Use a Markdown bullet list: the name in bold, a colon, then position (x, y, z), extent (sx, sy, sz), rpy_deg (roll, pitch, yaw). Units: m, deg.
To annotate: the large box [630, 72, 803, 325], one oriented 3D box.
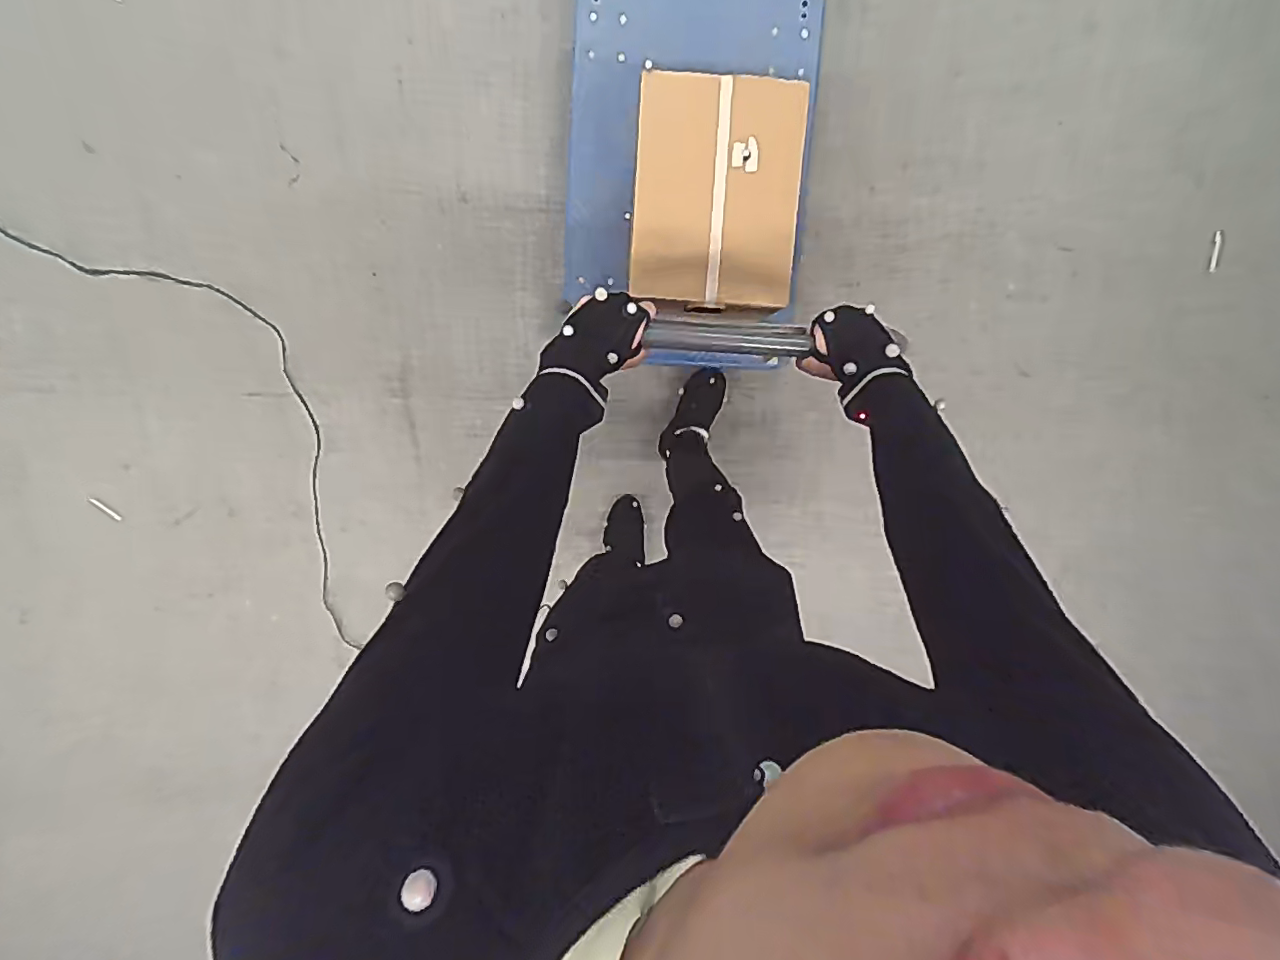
- **large box**: position (0.139, -0.566, 1.169), extent (0.320, 0.320, 0.408), rpy_deg (3, 97, -3)
